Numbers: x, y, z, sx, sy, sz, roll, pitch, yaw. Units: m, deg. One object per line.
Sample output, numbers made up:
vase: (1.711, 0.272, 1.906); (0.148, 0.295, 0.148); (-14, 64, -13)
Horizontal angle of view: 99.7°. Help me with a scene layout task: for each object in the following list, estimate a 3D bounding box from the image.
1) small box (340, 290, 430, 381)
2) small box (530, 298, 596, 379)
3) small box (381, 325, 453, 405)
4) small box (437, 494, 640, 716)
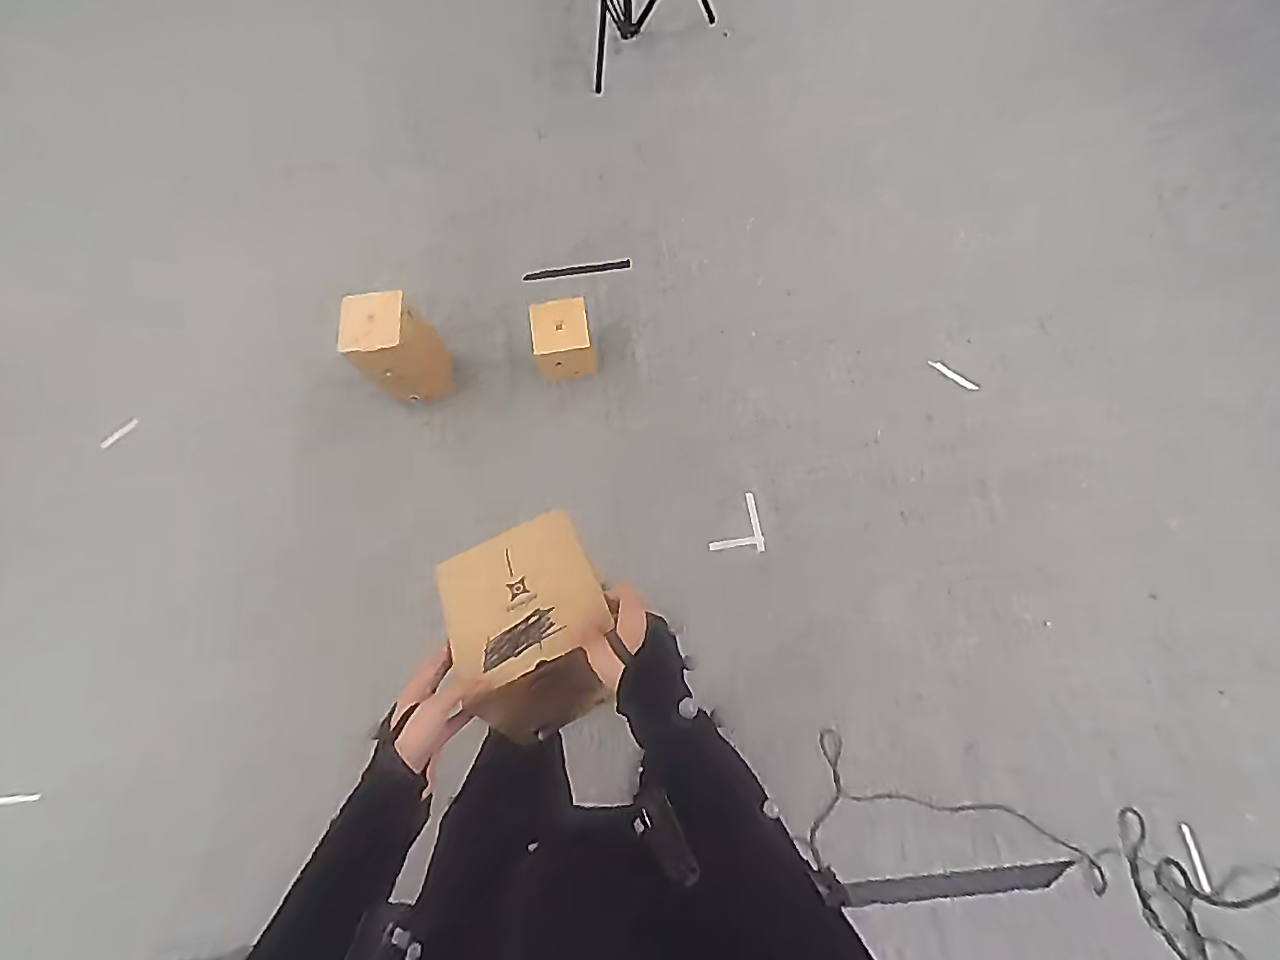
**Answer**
small box: (-0.696, -0.395, 1.494); (0.168, 0.176, 0.179); (-5, 73, 2)
small box: (-0.233, -0.426, 1.662); (0.168, 0.176, 0.179); (-9, 71, -1)
small box: (-0.683, -0.349, 1.652); (0.168, 0.176, 0.179); (-4, 72, 2)
small box: (-0.114, 0.155, 0.638); (0.168, 0.176, 0.179); (-24, 50, -7)
